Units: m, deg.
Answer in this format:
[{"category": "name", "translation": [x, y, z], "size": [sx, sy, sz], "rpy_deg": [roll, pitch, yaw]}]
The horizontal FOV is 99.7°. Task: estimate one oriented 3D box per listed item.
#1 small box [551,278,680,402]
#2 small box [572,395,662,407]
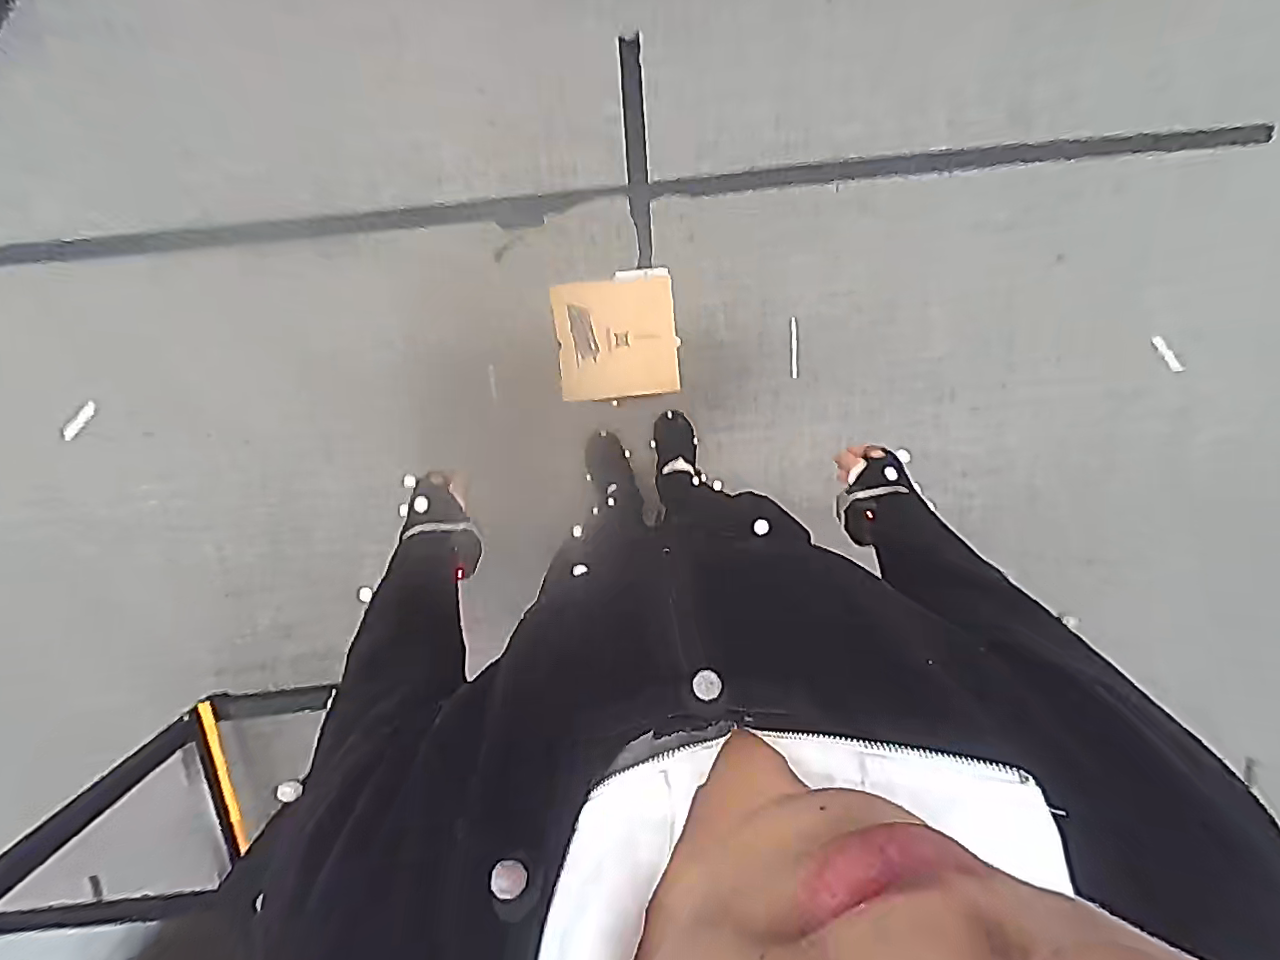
[{"category": "small box", "translation": [-0.034, -0.214, 0.855], "size": [0.179, 0.176, 0.168], "rpy_deg": [-6, 101, -1]}, {"category": "small box", "translation": [-0.045, -0.236, 1.019], "size": [0.168, 0.176, 0.179], "rpy_deg": [-4, 102, 0]}]
